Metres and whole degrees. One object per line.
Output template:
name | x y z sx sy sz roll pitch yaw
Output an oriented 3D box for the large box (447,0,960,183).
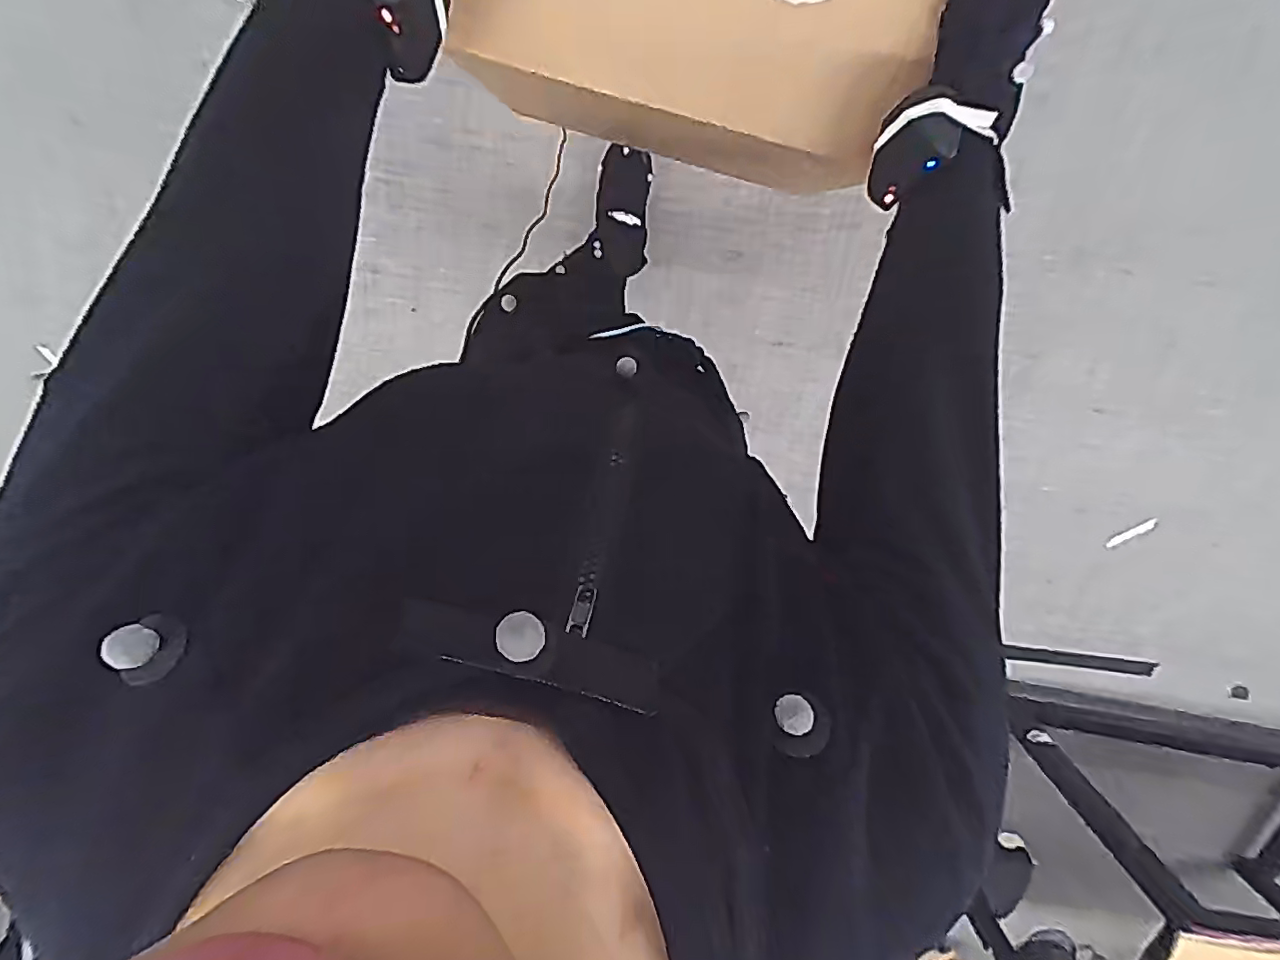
large box | 0.066 -0.514 0.526 0.408 0.320 0.320 12 116 -6
